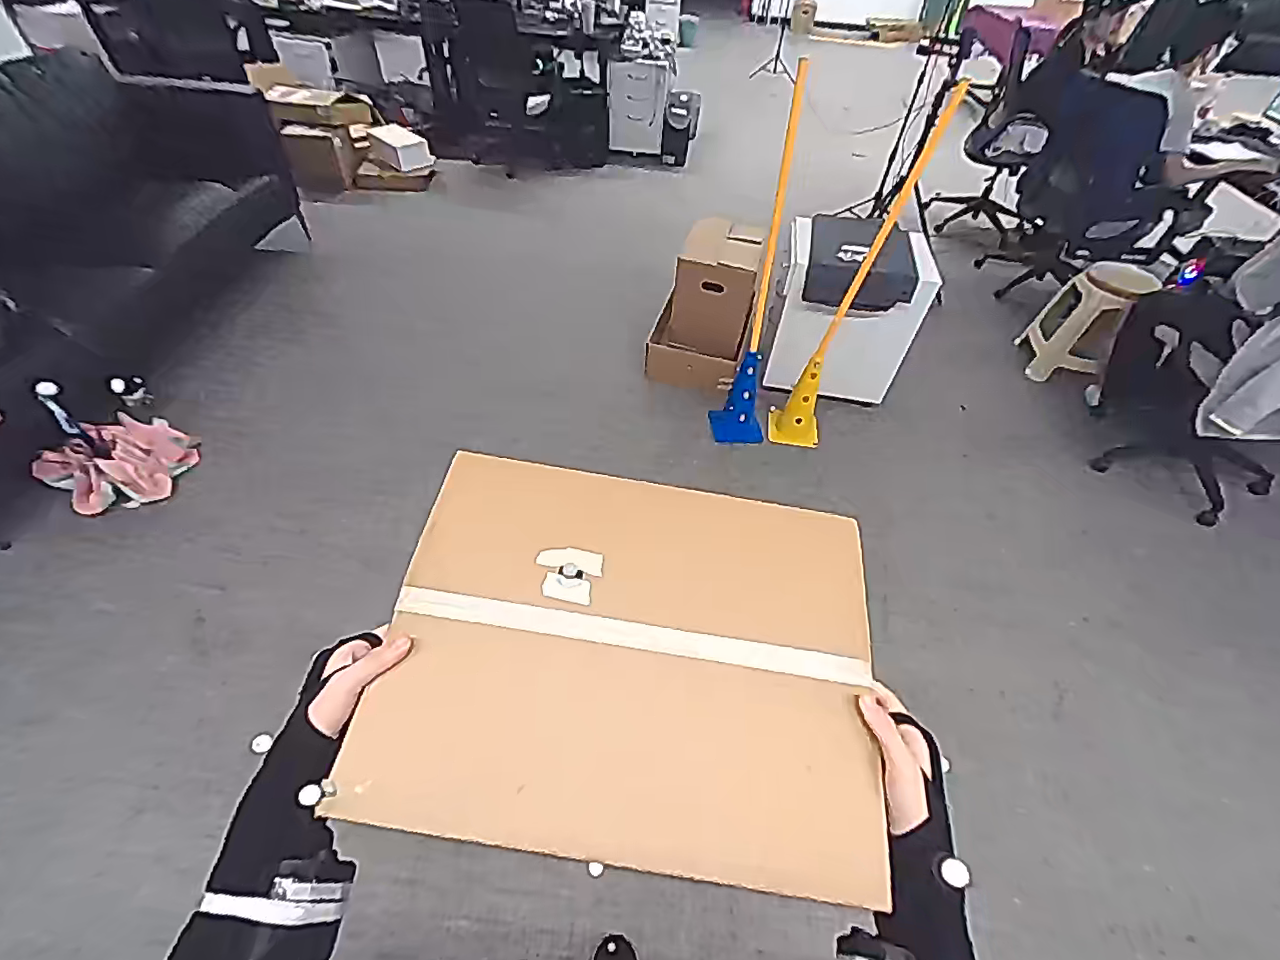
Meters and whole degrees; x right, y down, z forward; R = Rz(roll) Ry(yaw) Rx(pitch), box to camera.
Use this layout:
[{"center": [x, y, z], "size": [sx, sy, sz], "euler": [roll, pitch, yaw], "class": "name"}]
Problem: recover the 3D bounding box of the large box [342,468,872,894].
[{"center": [-0.014, 0.220, 0.600], "size": [0.408, 0.320, 0.320], "euler": [9, 58, 1], "class": "large box"}]
